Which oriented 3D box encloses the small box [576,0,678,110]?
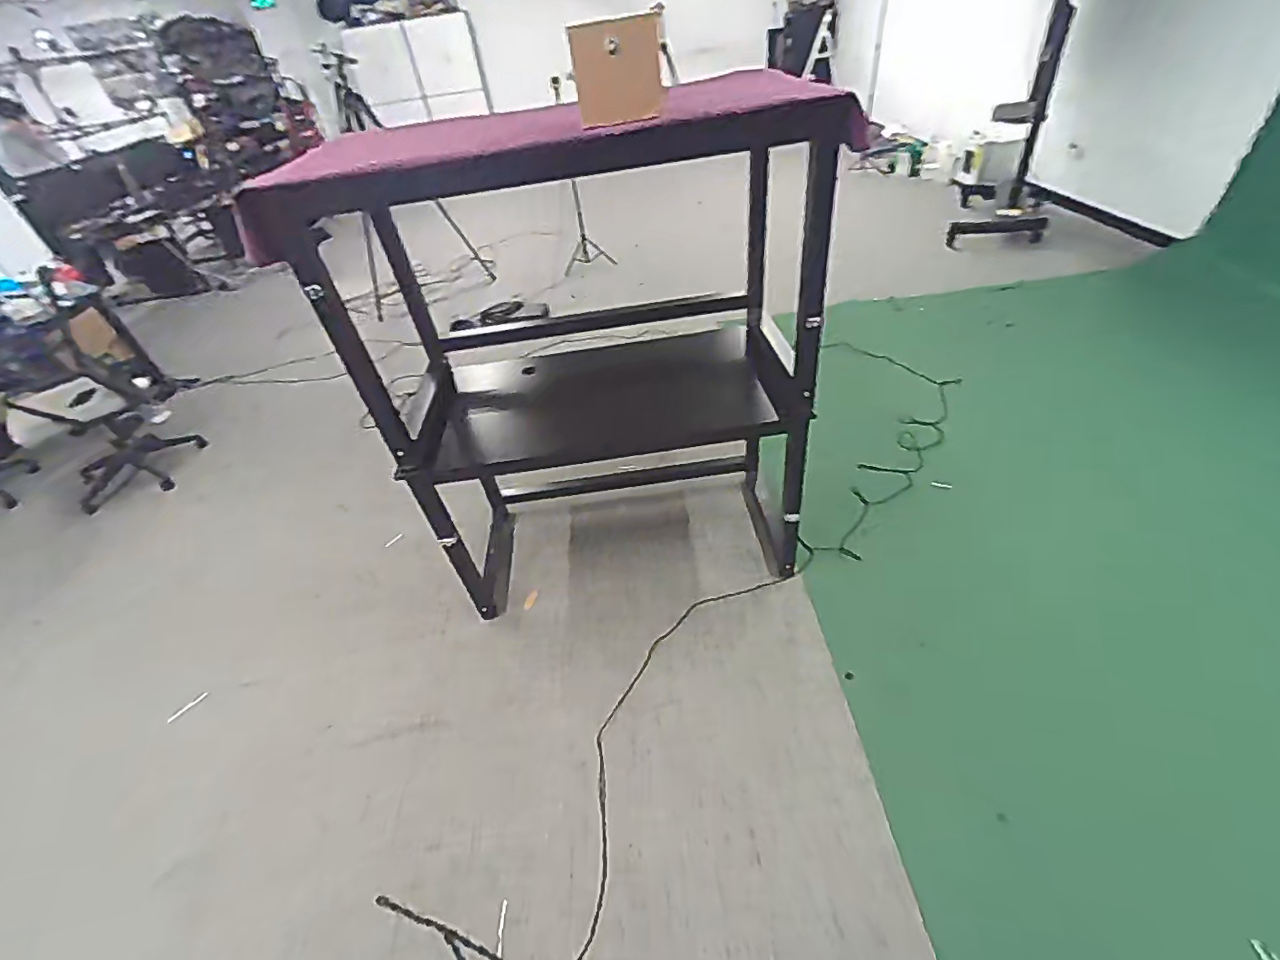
[{"bbox_3d":[-0.022,-0.853,1.075,0.179,0.176,0.168,-6,41,2],"label":"small box"}]
